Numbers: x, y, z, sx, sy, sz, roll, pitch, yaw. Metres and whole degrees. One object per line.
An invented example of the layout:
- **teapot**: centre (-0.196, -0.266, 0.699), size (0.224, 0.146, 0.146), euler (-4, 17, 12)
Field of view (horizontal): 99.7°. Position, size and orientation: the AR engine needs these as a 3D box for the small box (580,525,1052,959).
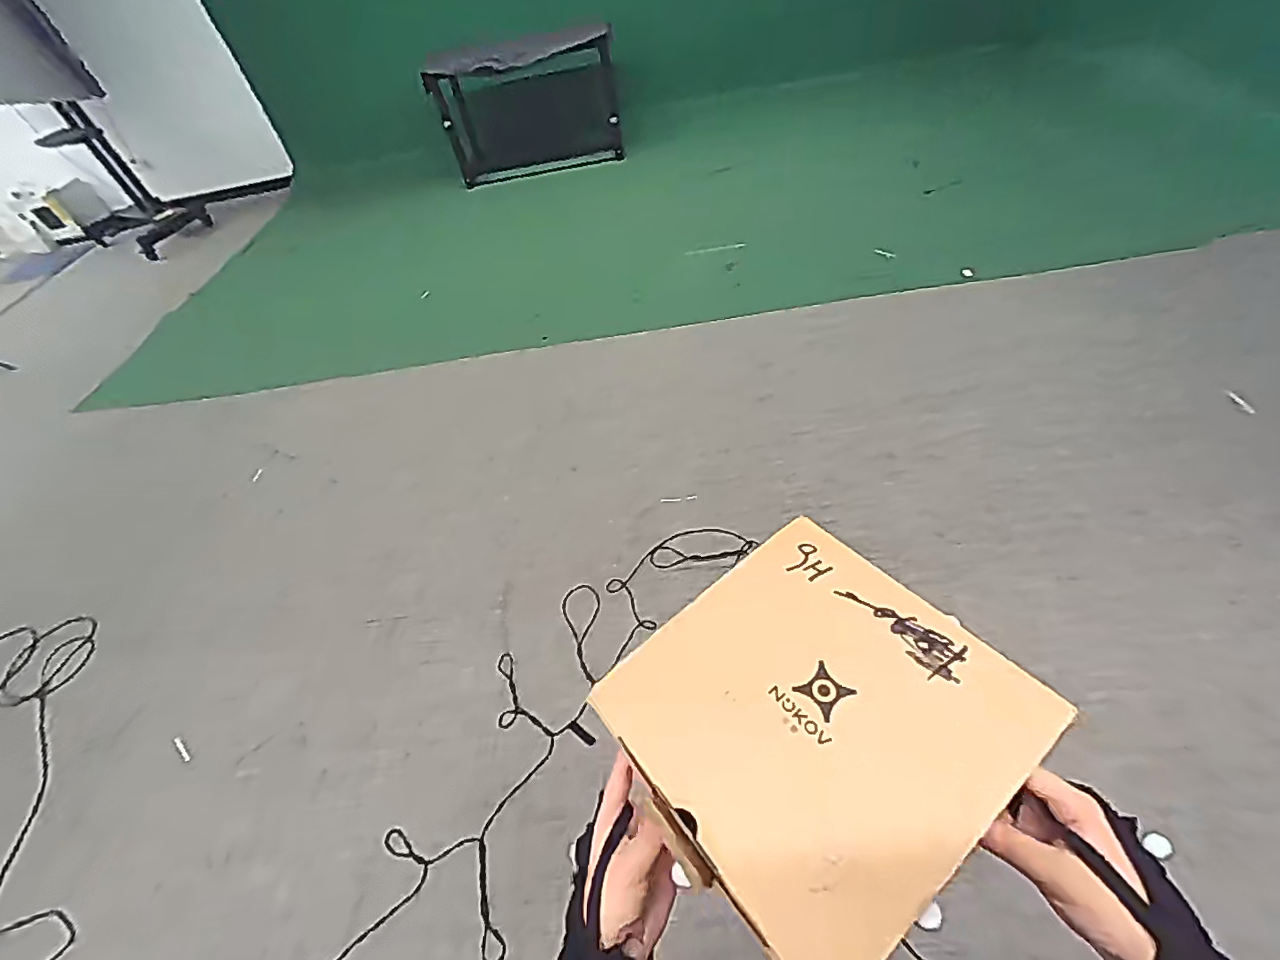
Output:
- **small box**: centre (0.095, 0.169, 0.333), size (0.179, 0.176, 0.168), euler (-36, 51, -17)
